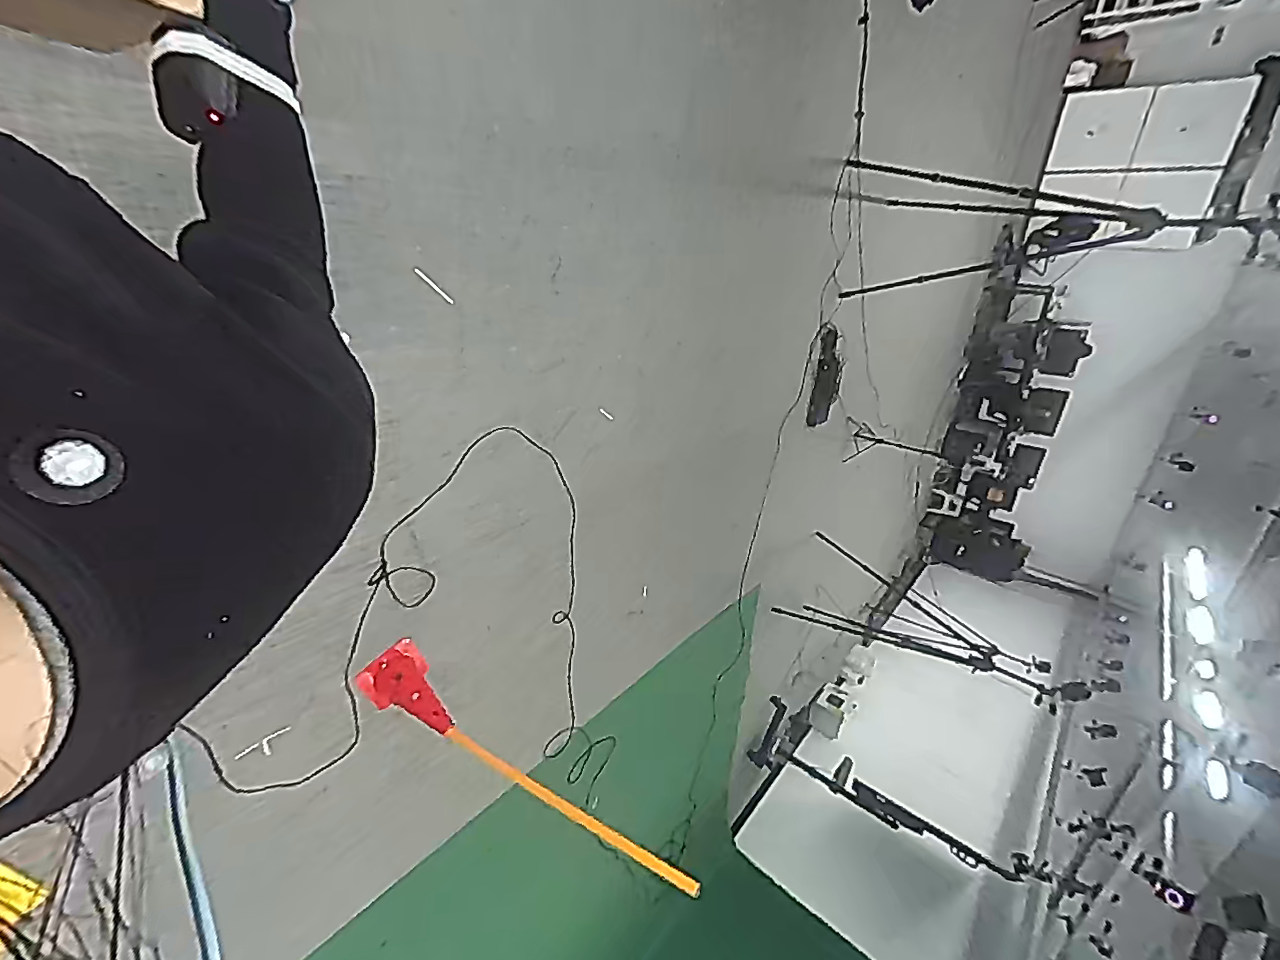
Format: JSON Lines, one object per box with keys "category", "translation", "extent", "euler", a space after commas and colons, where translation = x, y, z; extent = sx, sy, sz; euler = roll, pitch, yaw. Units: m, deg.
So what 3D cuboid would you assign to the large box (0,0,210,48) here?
{"category": "large box", "translation": [-0.541, -0.497, 0.291], "extent": [0.408, 0.320, 0.320], "euler": [-17, 123, -47]}
